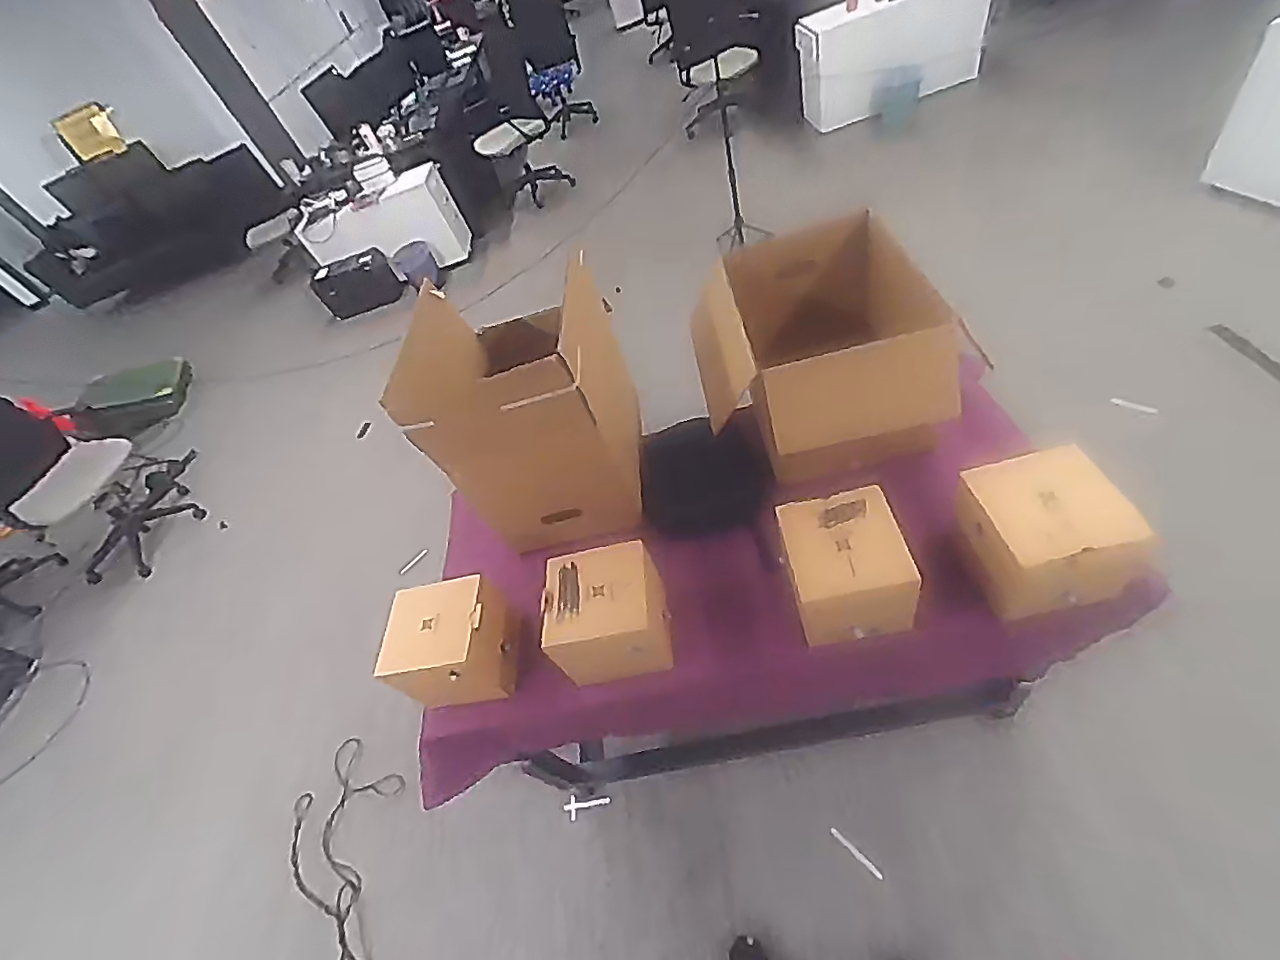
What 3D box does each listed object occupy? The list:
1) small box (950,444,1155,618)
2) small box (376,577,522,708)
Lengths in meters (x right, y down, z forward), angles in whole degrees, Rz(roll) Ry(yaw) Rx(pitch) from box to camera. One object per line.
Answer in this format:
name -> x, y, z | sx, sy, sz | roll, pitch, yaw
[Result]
small box -> 0.591, 0.080, 0.809 | 0.168, 0.176, 0.179 | -16, 47, 10
small box -> -0.339, 0.303, 0.993 | 0.179, 0.176, 0.168 | -12, 48, 10
